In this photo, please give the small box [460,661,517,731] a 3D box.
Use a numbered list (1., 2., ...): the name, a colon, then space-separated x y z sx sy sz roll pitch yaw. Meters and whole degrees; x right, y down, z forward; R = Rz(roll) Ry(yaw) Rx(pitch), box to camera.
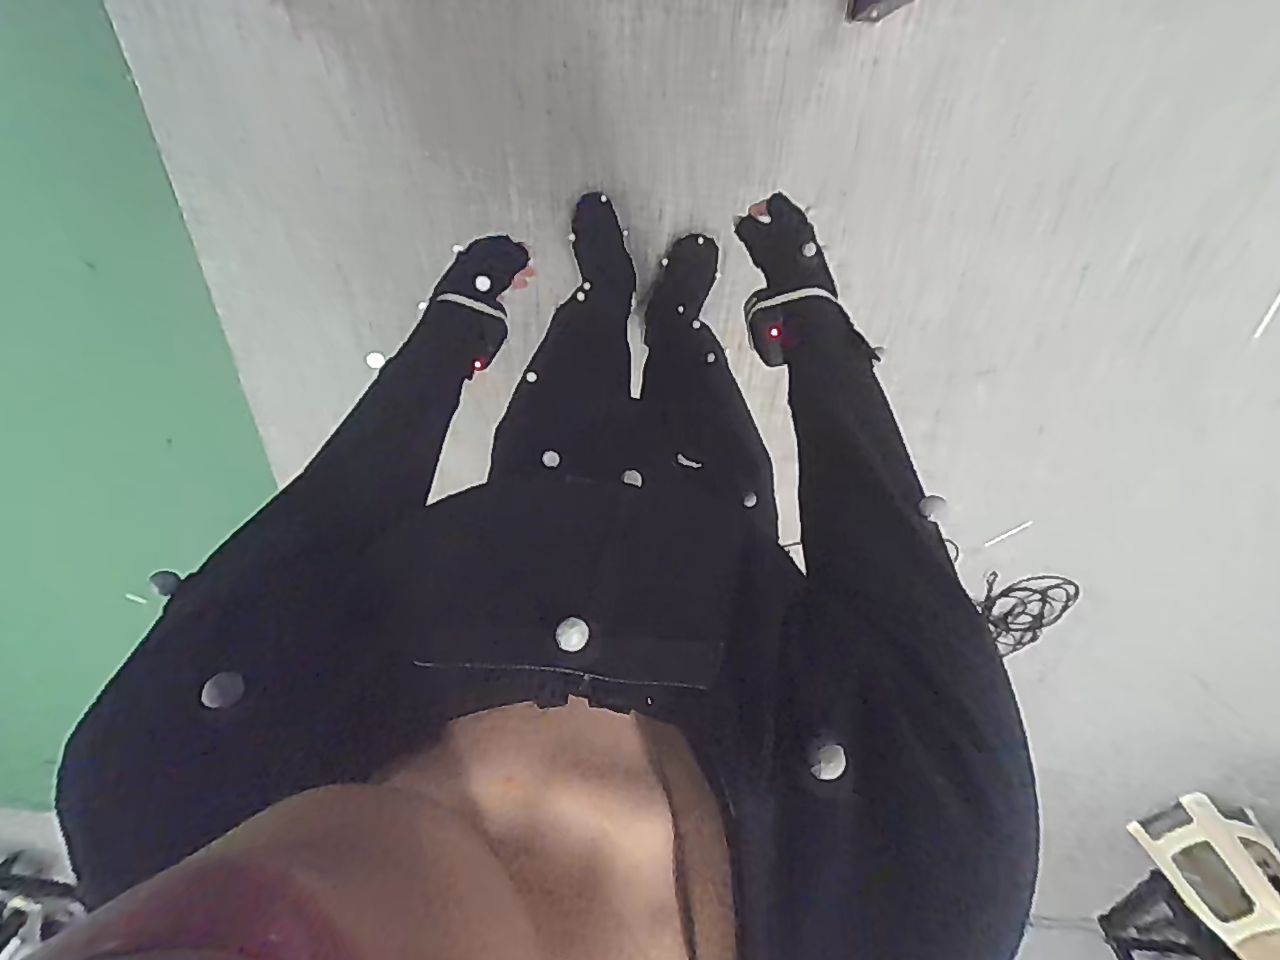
1. small box: -0.568 0.818 2.050 0.168 0.176 0.179 6 122 1
